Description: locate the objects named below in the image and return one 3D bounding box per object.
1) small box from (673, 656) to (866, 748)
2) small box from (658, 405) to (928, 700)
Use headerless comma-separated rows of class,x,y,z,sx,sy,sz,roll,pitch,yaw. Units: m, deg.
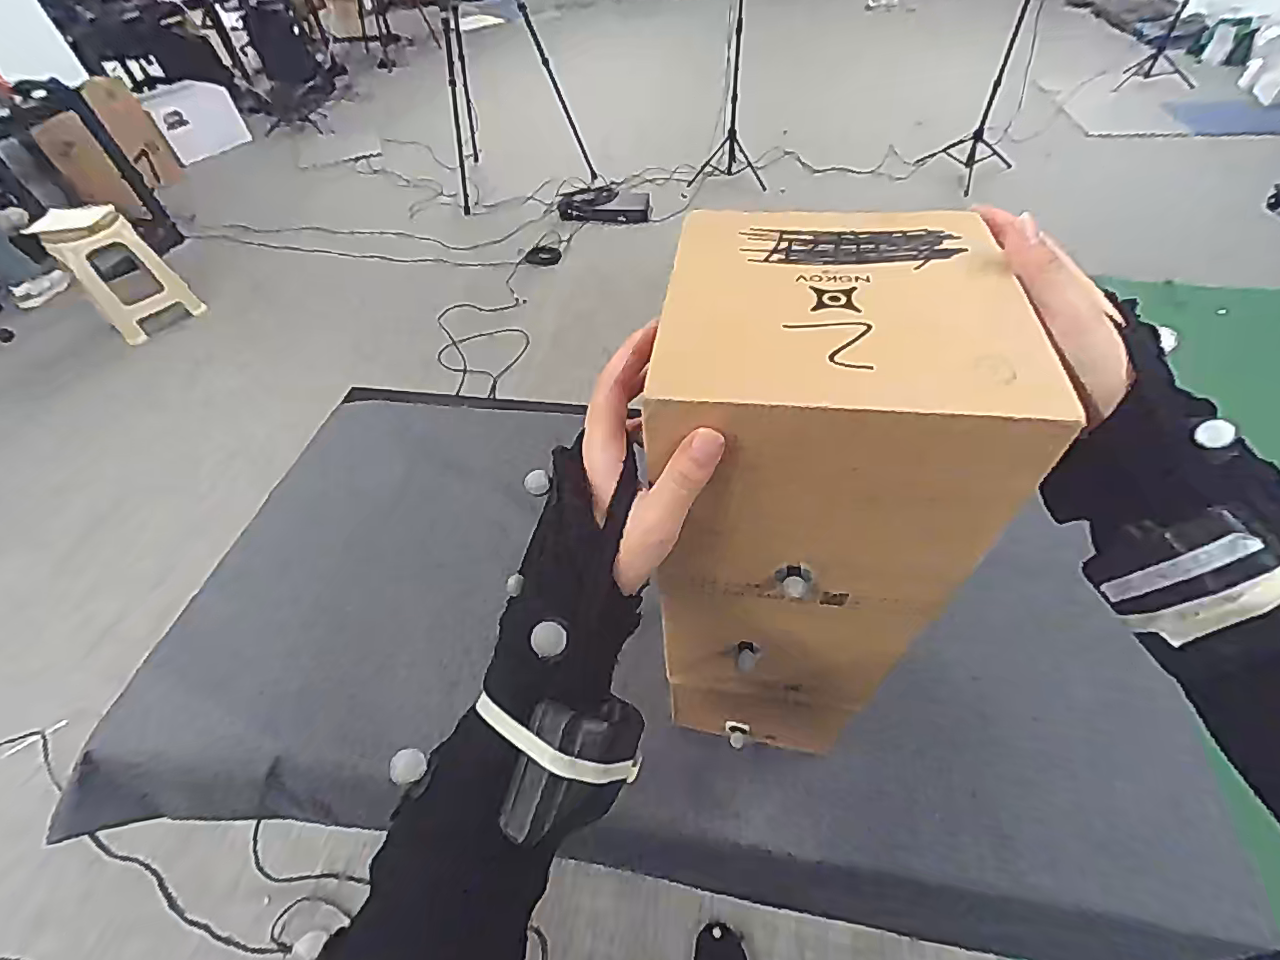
small box,0.129,0.159,0.572,0.168,0.176,0.179,5,52,10
small box,0.112,0.061,0.444,0.168,0.176,0.179,4,50,10
